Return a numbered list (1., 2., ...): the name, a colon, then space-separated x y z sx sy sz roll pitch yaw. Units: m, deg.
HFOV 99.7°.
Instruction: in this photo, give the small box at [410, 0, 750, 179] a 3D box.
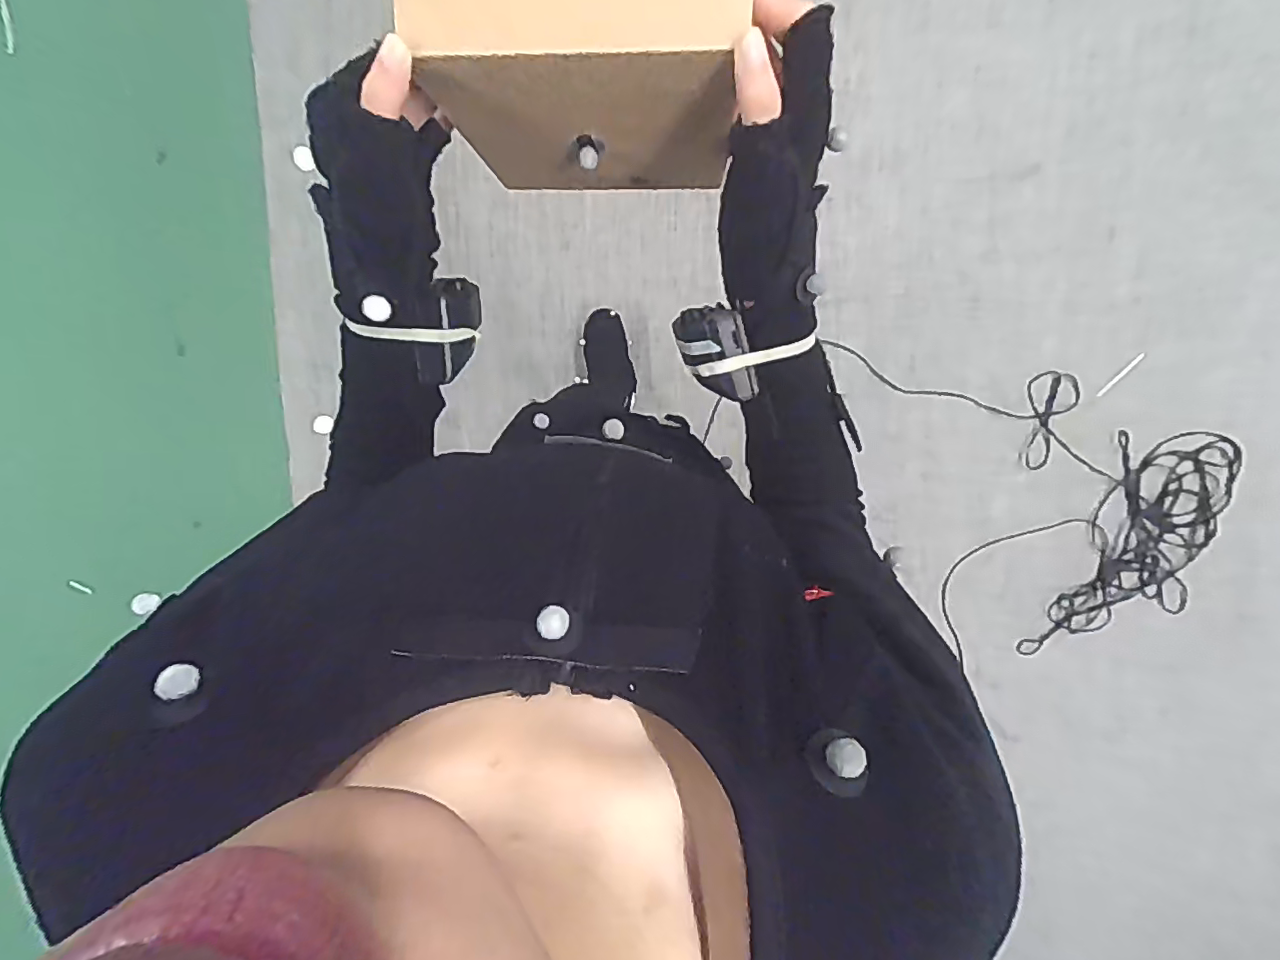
1. small box: -0.023 -0.300 0.323 0.168 0.176 0.179 1 99 3
